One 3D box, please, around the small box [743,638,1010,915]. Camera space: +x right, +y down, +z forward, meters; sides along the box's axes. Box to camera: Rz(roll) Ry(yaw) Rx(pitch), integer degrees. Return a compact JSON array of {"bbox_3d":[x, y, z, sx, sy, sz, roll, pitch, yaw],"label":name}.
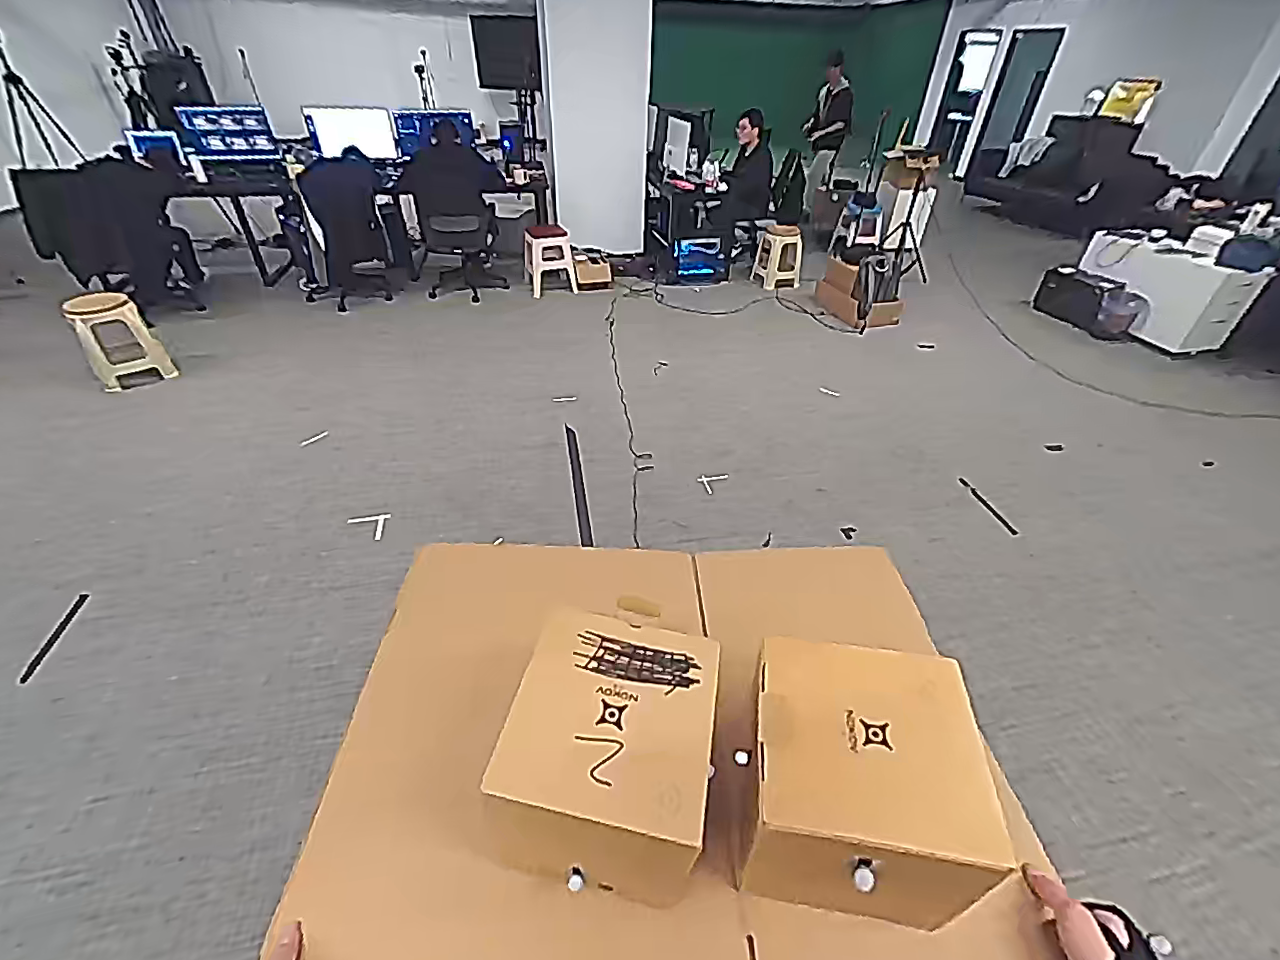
[{"bbox_3d":[0.195,0.275,0.504,0.179,0.176,0.168,5,41,10],"label":"small box"}]
